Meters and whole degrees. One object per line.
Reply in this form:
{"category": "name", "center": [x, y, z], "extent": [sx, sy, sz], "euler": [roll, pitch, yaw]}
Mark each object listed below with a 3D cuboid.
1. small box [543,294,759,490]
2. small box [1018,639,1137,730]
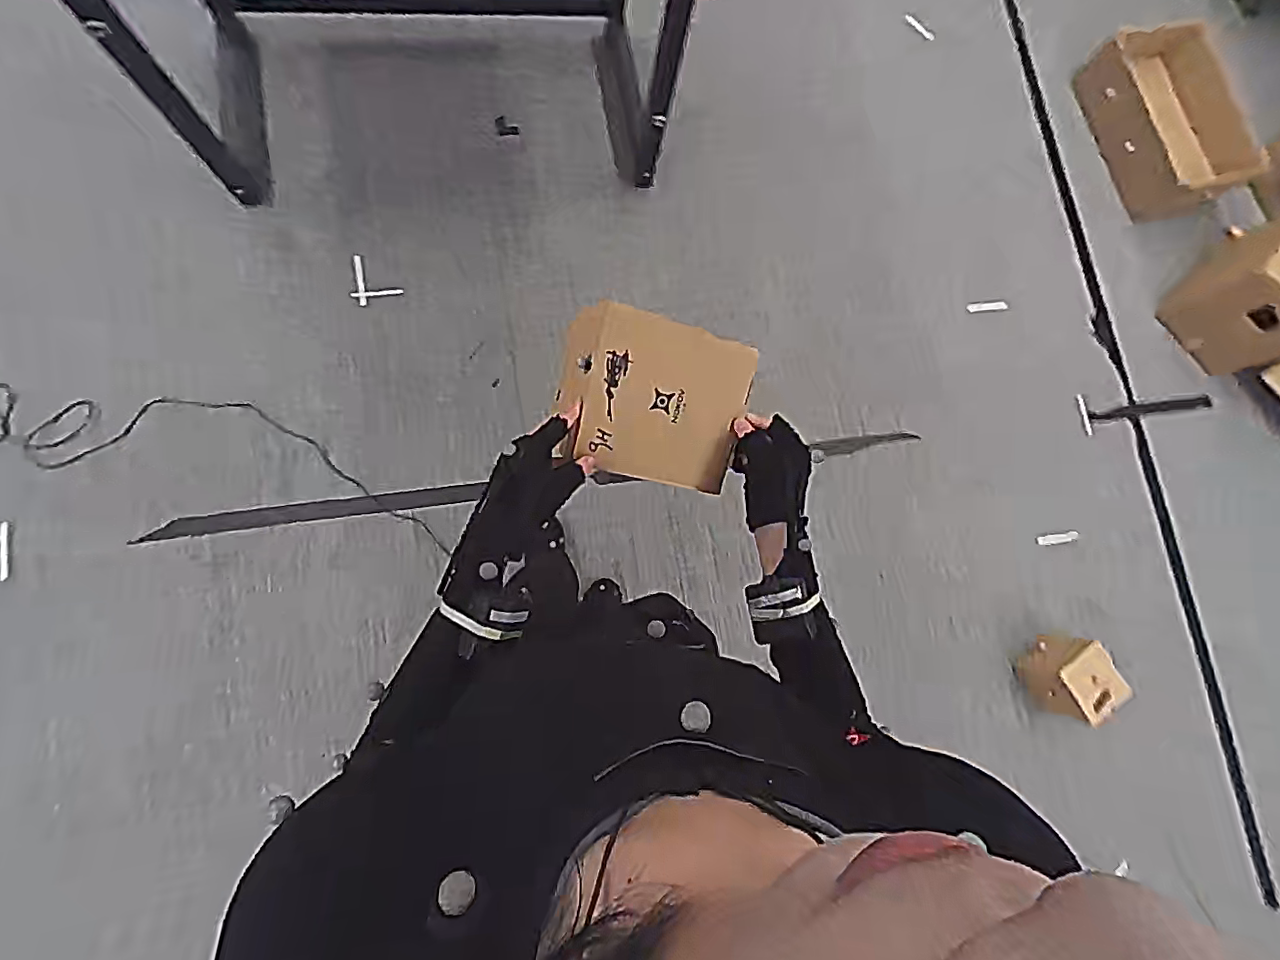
{"category": "small box", "center": [0.002, -0.098, 0.622], "extent": [0.179, 0.176, 0.168], "euler": [12, 96, -21]}
{"category": "small box", "center": [1.269, 0.587, 1.579], "extent": [0.168, 0.176, 0.179], "euler": [-31, 86, -12]}
